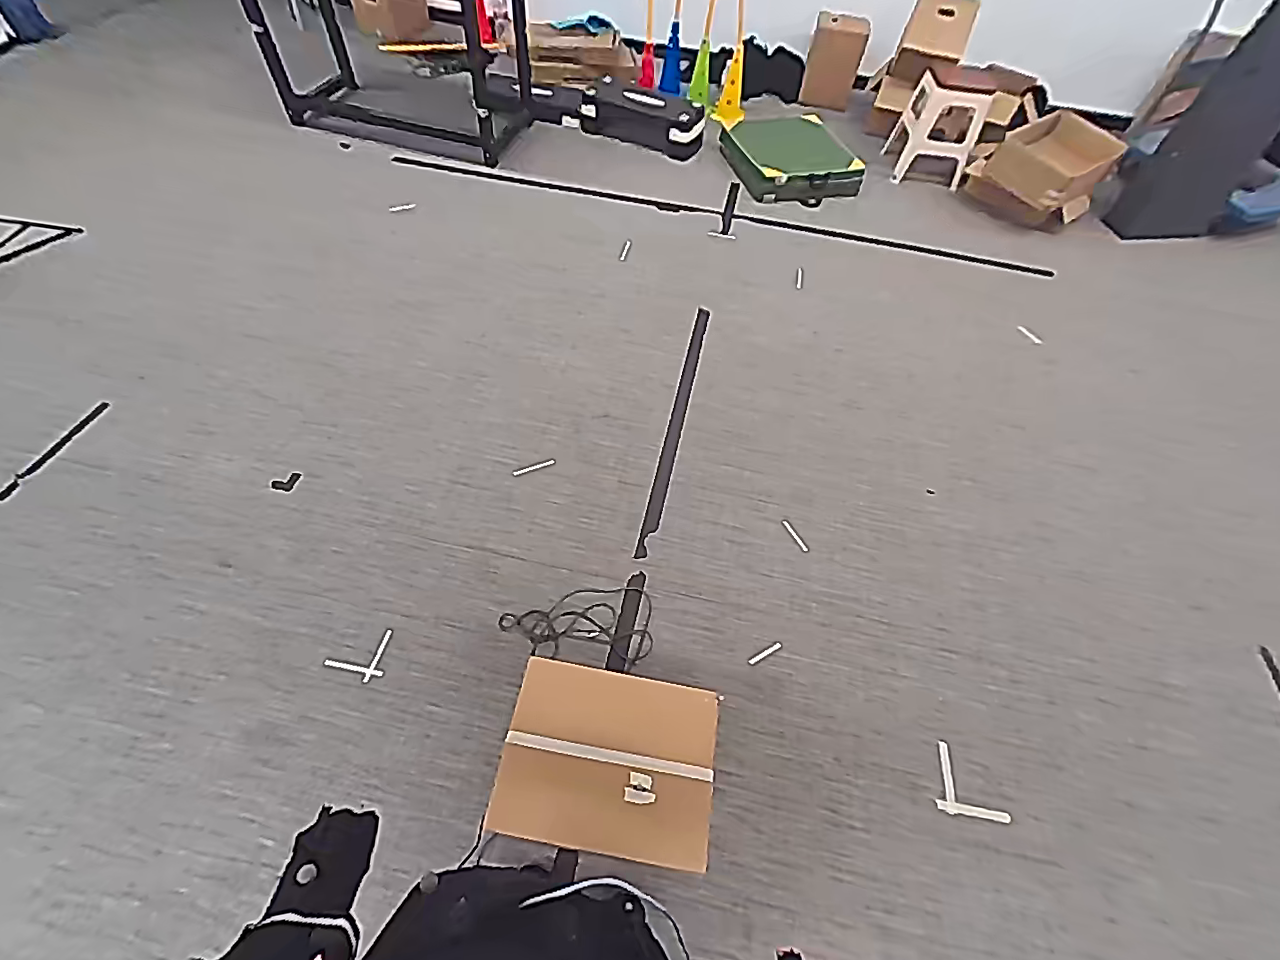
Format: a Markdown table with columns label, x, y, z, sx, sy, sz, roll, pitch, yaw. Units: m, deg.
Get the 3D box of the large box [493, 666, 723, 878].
| label | x | y | z | sx | sy | sz | roll | pitch | yaw |
| --- | --- | --- | --- | --- | --- | --- | --- | --- | --- |
| large box | -0.061 | 0.630 | 1.163 | 0.408 | 0.320 | 0.320 | 11 | 55 | 1 |
